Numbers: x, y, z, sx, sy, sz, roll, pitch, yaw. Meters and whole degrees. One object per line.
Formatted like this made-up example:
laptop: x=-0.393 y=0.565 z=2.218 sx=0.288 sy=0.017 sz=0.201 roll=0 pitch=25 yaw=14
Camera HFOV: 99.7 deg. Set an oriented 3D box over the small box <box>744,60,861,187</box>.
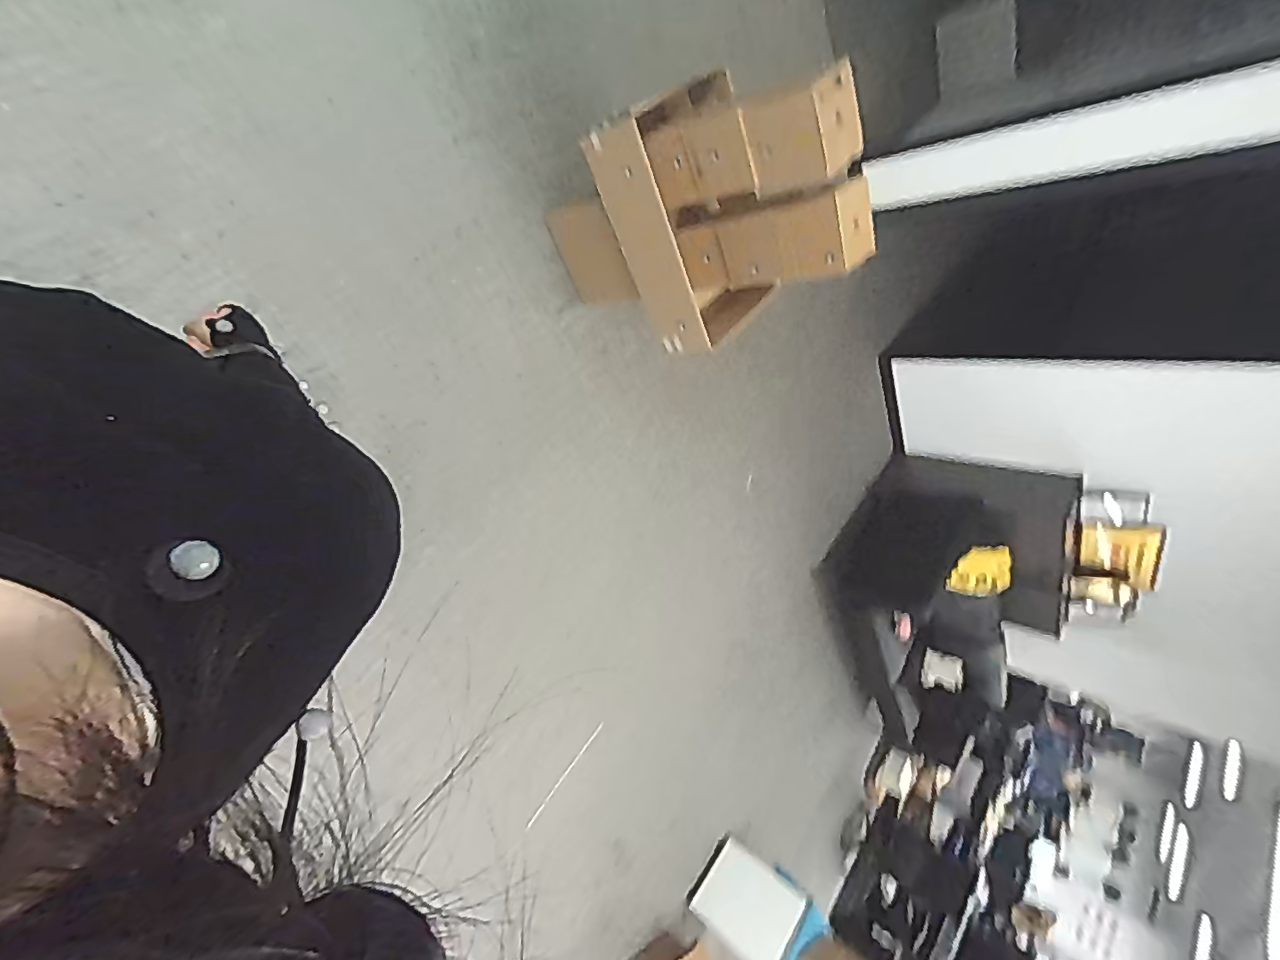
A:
small box: x=0.352 y=-0.758 z=1.168 sx=0.168 sy=0.176 sz=0.179 roll=-47 pitch=131 yaw=-25
